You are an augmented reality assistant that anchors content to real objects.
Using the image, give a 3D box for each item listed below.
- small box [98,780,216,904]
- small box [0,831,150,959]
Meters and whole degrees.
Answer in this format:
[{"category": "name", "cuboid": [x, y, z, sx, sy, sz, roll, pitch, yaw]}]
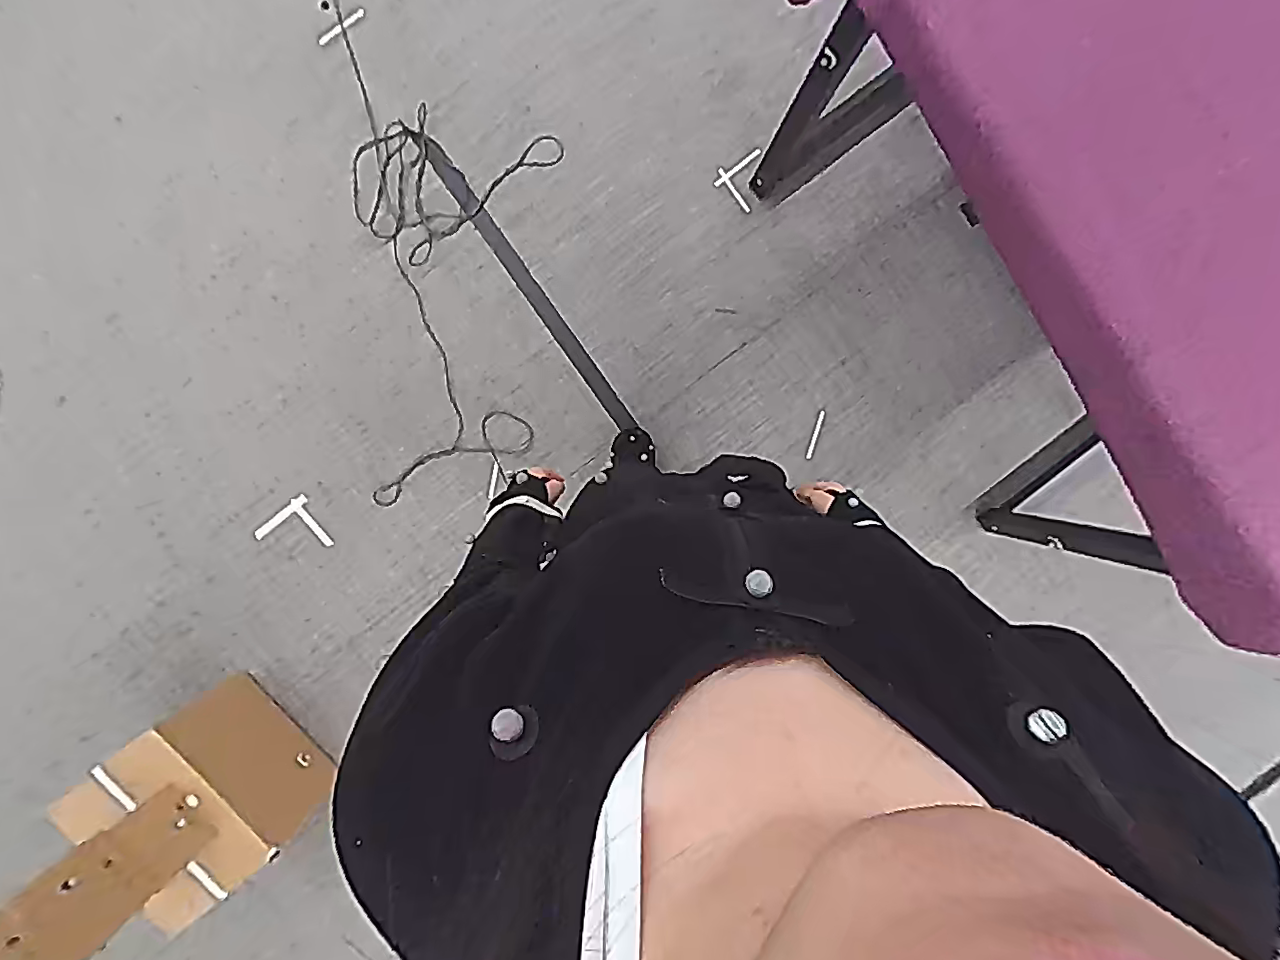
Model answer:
[{"category": "small box", "cuboid": [-1.060, 0.785, 1.135, 0.179, 0.176, 0.168, -40, 96, 0]}, {"category": "small box", "cuboid": [-1.050, 0.791, 0.974, 0.179, 0.176, 0.168, -41, 94, 1]}]
